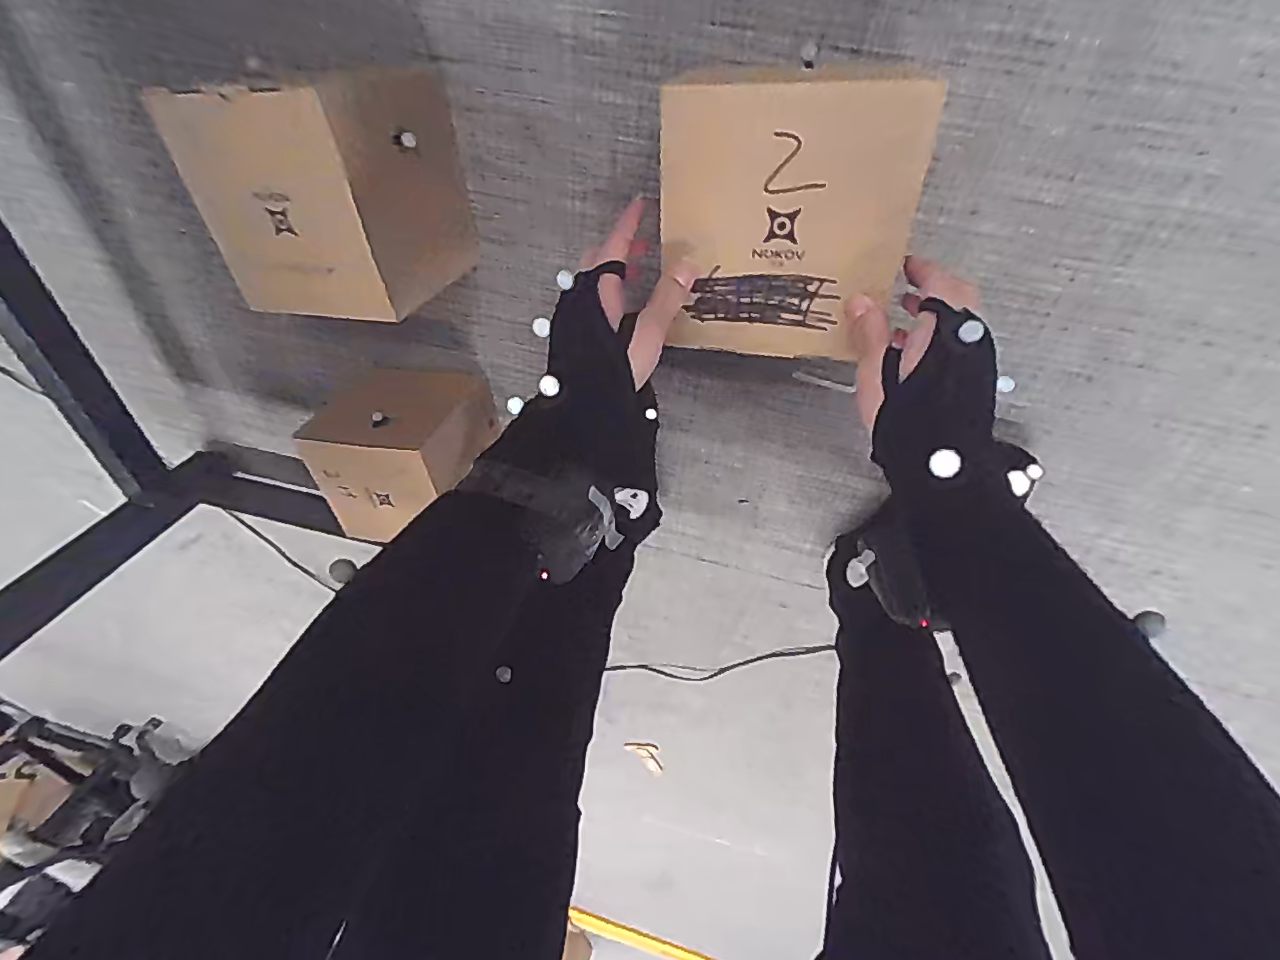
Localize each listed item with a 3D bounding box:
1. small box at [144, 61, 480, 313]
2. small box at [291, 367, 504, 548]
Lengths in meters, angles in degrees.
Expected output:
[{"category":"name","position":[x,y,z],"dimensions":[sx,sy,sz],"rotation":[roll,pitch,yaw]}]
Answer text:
[{"category":"small box","position":[-0.273,-0.277,0.502],"dimensions":[0.168,0.176,0.179],"rotation":[8,132,12]},{"category":"small box","position":[-0.294,-0.036,0.709],"dimensions":[0.179,0.176,0.168],"rotation":[6,130,13]}]
